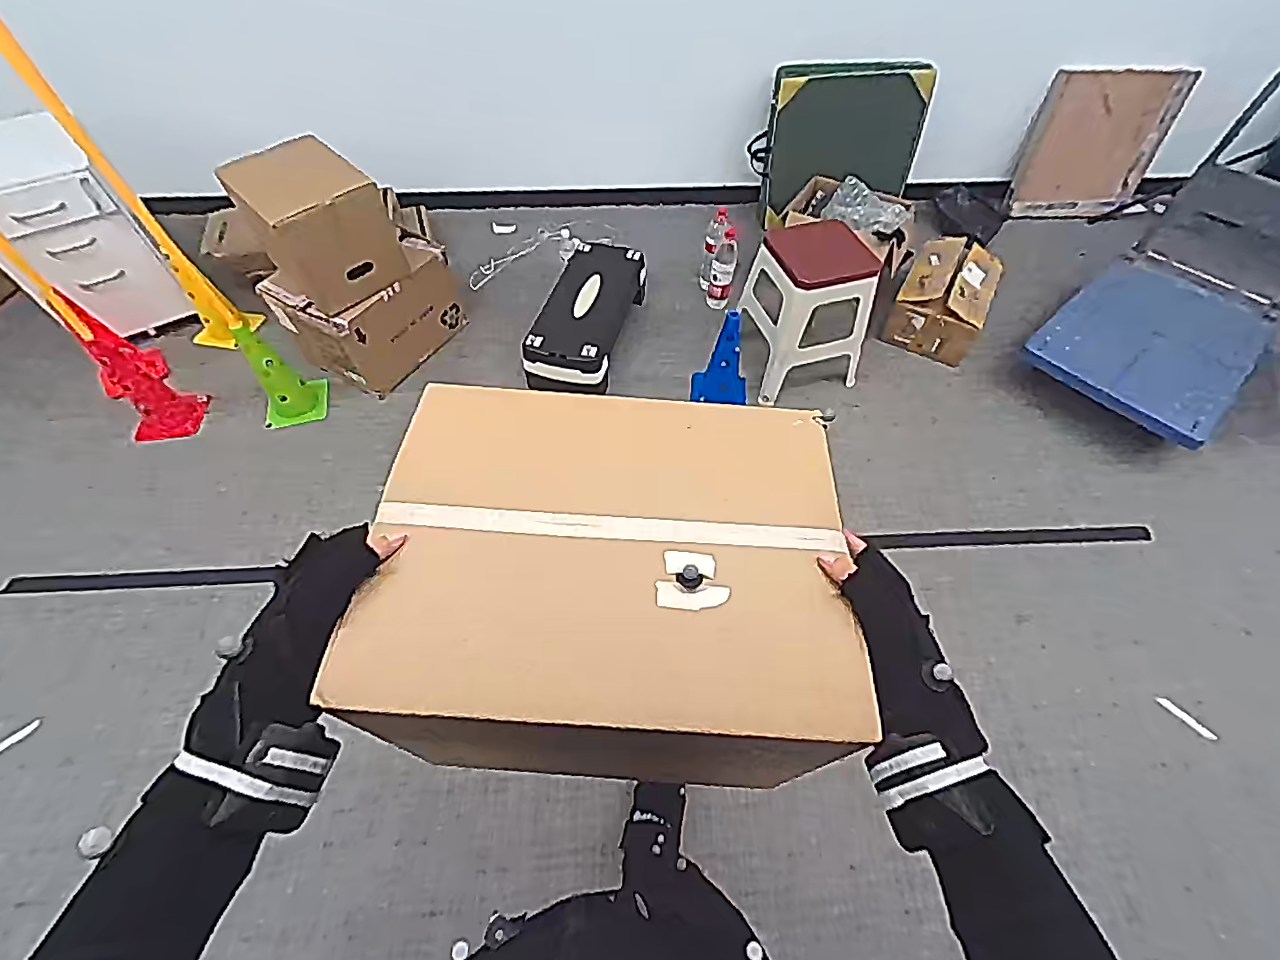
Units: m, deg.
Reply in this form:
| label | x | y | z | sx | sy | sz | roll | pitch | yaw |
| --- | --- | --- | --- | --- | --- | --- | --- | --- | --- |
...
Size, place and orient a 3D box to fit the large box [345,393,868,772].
| label | x | y | z | sx | sy | sz | roll | pitch | yaw |
| --- | --- | --- | --- | --- | --- | --- | --- | --- | --- |
| large box | -0.026 | 0.128 | 0.610 | 0.408 | 0.320 | 0.320 | 4 | 55 | -1 |
